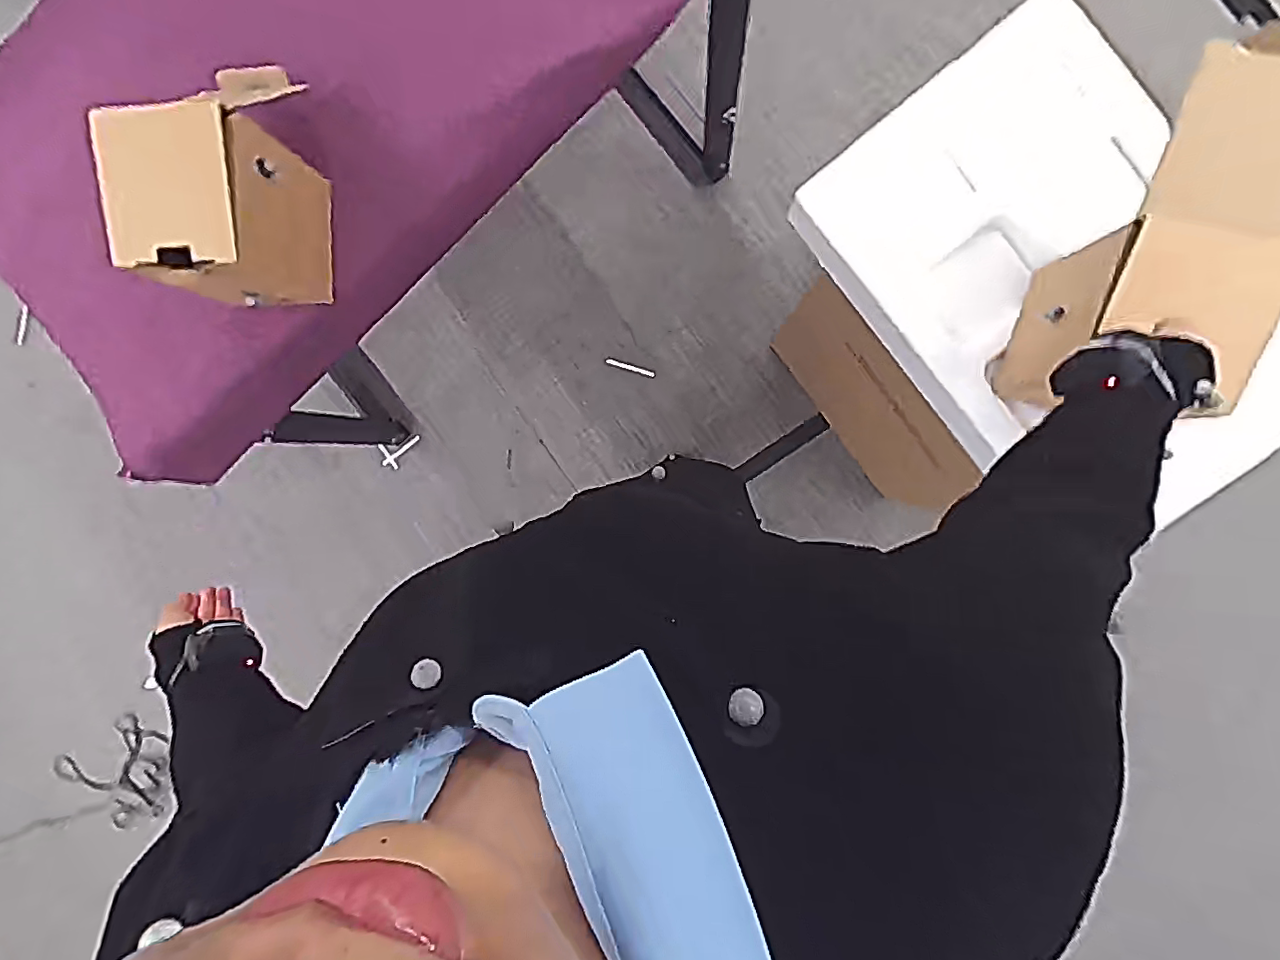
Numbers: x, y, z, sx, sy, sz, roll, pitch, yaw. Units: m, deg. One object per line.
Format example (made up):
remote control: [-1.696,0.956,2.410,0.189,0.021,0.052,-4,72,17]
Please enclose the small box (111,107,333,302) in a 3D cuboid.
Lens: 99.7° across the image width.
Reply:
small box: [-0.534,-0.348,0.711,0.168,0.176,0.179,1,92,7]
